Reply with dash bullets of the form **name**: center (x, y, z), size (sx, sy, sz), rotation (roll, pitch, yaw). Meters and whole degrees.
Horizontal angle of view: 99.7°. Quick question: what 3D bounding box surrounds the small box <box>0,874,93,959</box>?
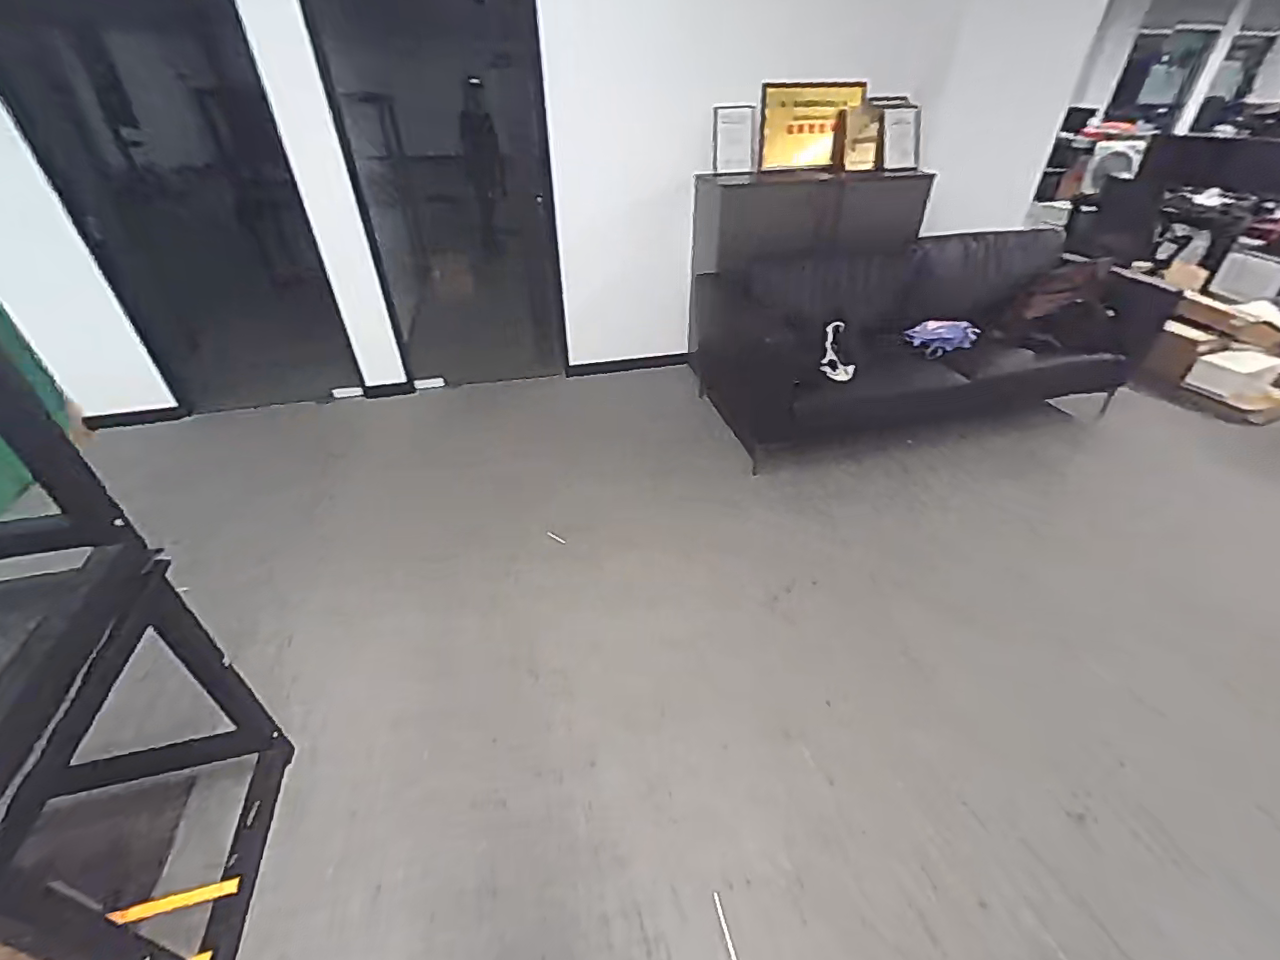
- **small box**: center (-1.208, 0.888, 1.018), size (0.168, 0.176, 0.179), rotation (-6, 37, -9)
